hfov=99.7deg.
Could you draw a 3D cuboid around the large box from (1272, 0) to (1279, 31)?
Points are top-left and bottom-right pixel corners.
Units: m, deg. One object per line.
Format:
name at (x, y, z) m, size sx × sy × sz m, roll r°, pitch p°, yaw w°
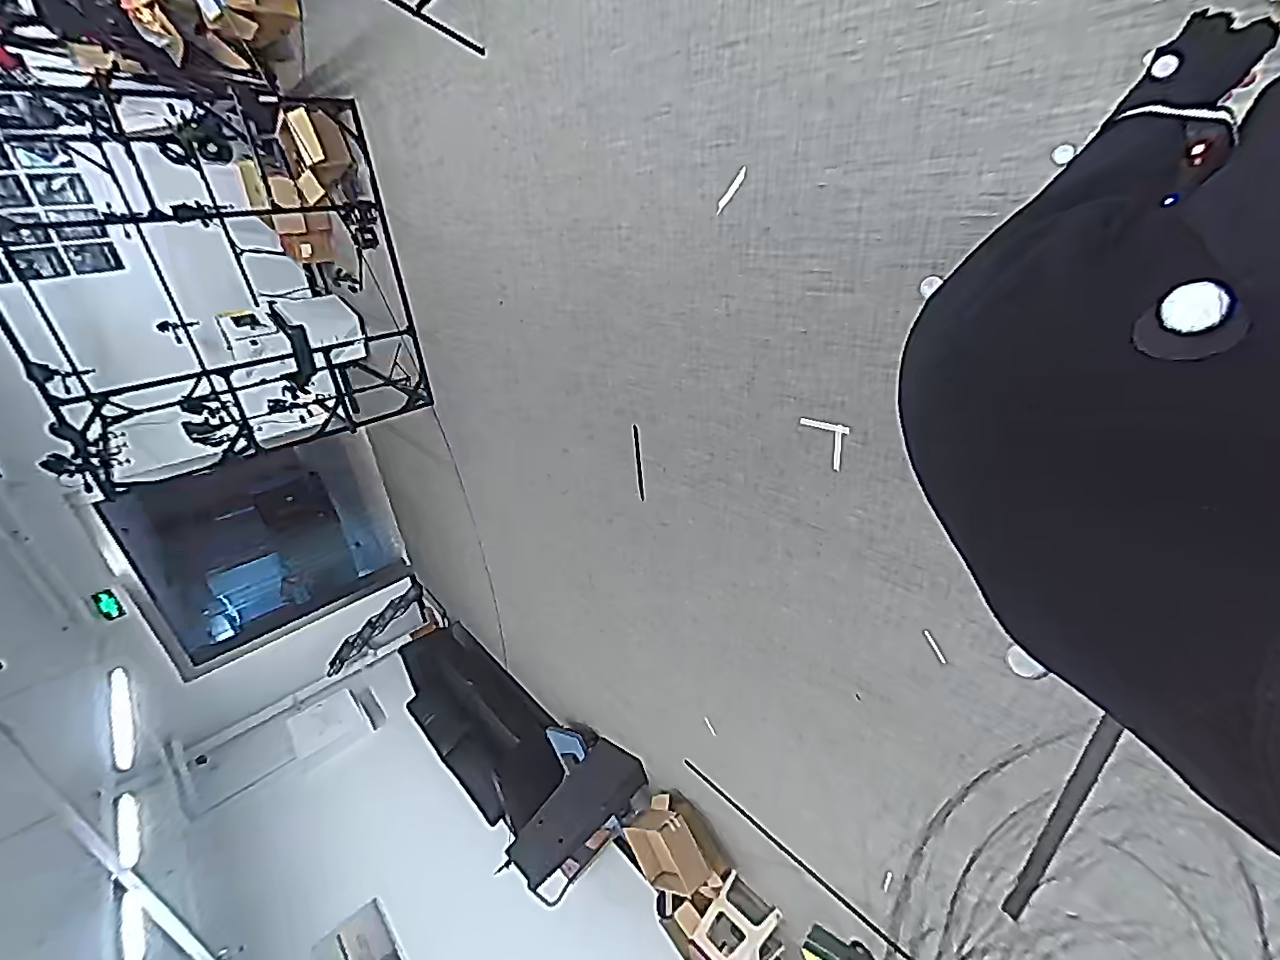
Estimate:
large box at (1.029, -0.749, 0.579) m, size 0.408 × 0.320 × 0.320 m, roll 21°, pitch 127°, yaw 43°
